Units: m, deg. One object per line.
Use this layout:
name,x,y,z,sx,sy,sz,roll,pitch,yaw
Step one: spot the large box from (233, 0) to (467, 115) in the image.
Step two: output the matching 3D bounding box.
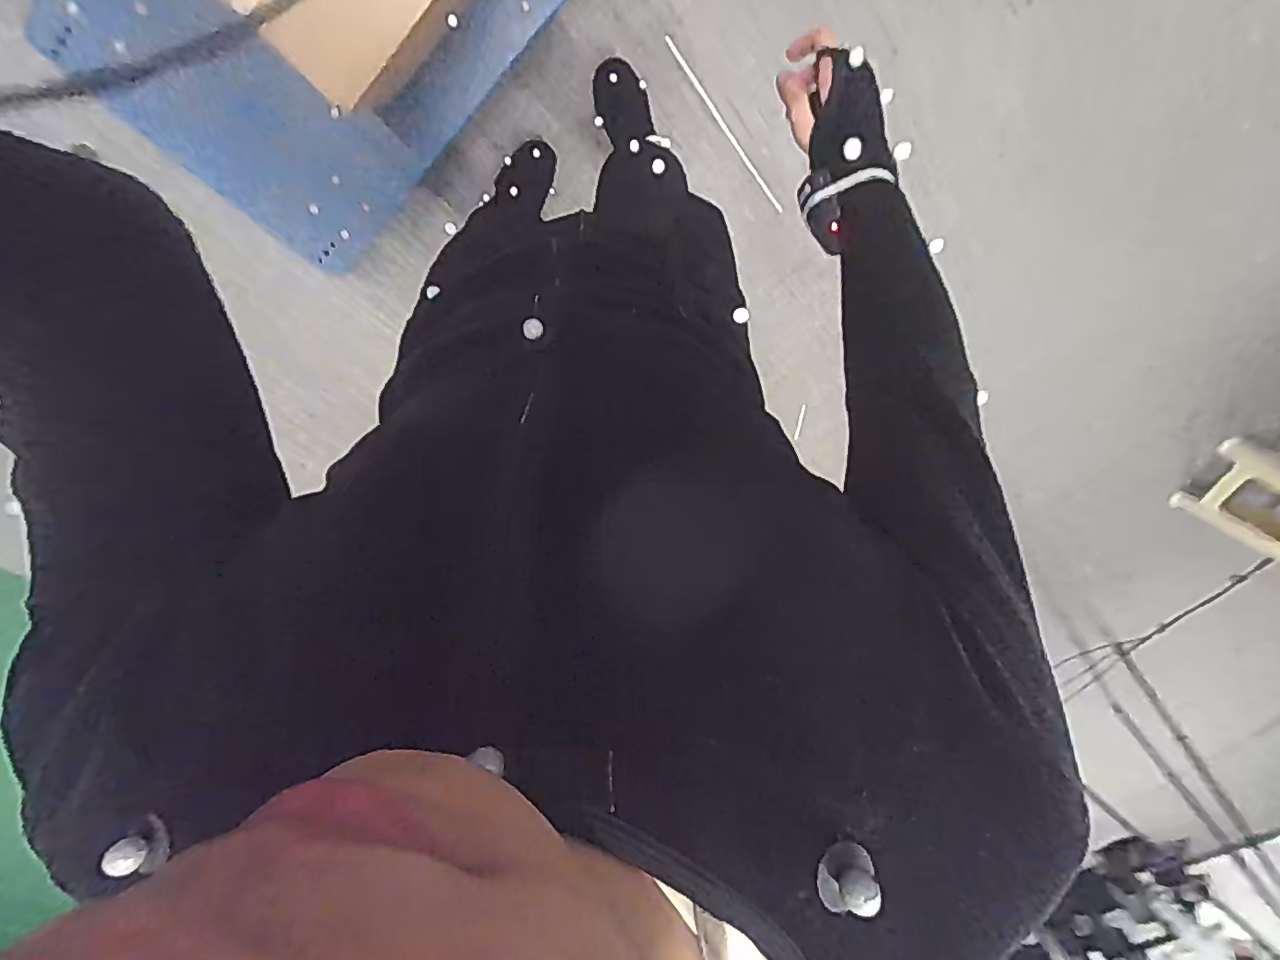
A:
large box,-0.408,-0.843,0.792,0.408,0.320,0.320,-36,125,18
